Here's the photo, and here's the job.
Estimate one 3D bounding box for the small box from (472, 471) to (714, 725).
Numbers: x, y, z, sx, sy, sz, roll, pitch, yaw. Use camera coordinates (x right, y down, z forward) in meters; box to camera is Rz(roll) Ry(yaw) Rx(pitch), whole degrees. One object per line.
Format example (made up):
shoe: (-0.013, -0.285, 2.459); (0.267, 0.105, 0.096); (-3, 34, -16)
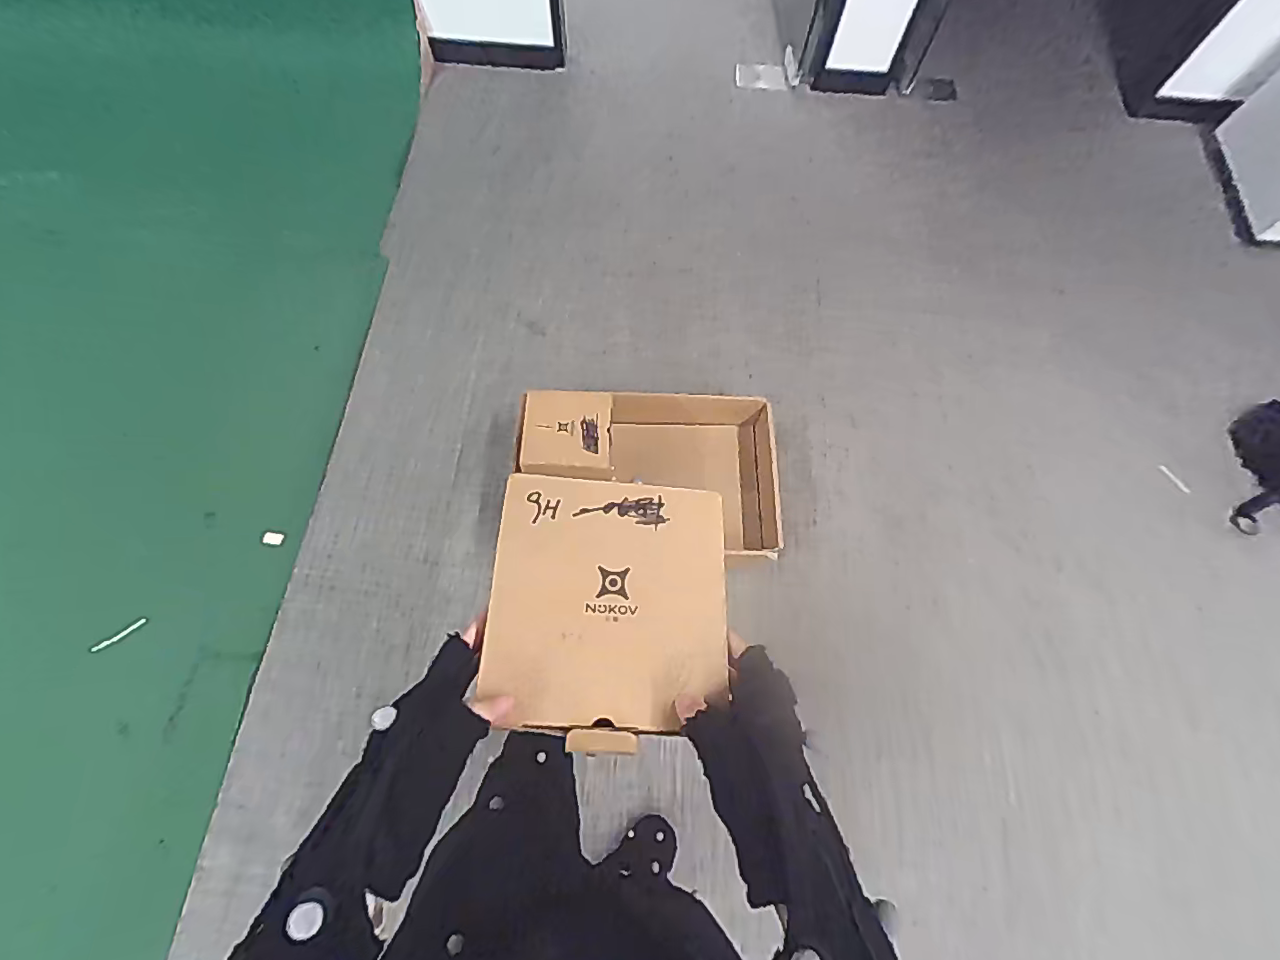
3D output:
small box: (-0.035, 0.109, 0.465); (0.168, 0.176, 0.179); (5, 67, -6)

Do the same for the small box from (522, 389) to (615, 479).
small box: (-0.144, -0.078, 1.157); (0.179, 0.176, 0.168); (2, 69, -1)
